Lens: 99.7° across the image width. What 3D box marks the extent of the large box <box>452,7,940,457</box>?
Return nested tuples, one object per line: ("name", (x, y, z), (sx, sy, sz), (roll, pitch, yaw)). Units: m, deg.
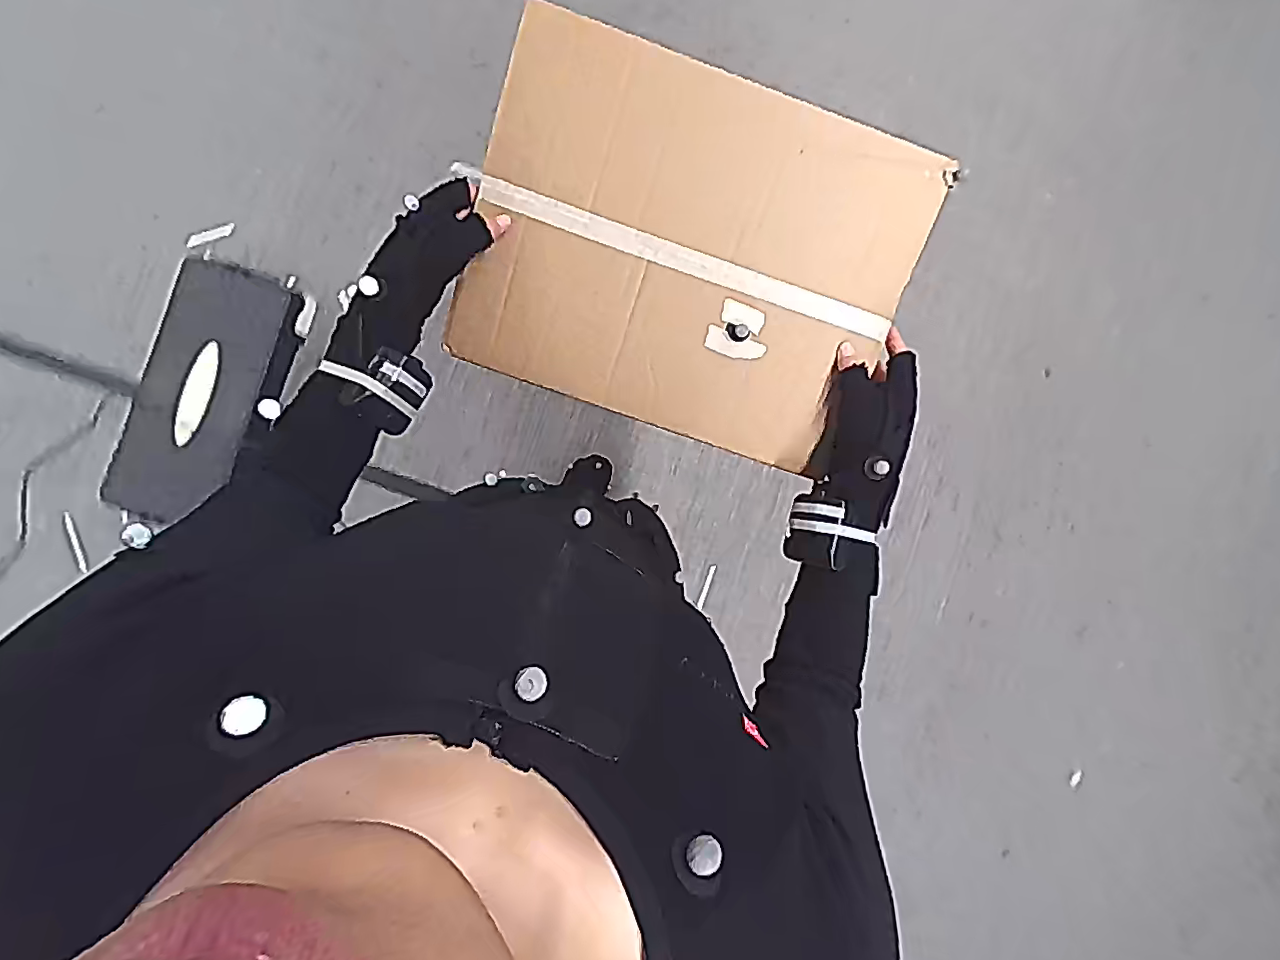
("large box", (0.042, -0.250, 0.657), (0.408, 0.320, 0.320), (17, 103, -4))
